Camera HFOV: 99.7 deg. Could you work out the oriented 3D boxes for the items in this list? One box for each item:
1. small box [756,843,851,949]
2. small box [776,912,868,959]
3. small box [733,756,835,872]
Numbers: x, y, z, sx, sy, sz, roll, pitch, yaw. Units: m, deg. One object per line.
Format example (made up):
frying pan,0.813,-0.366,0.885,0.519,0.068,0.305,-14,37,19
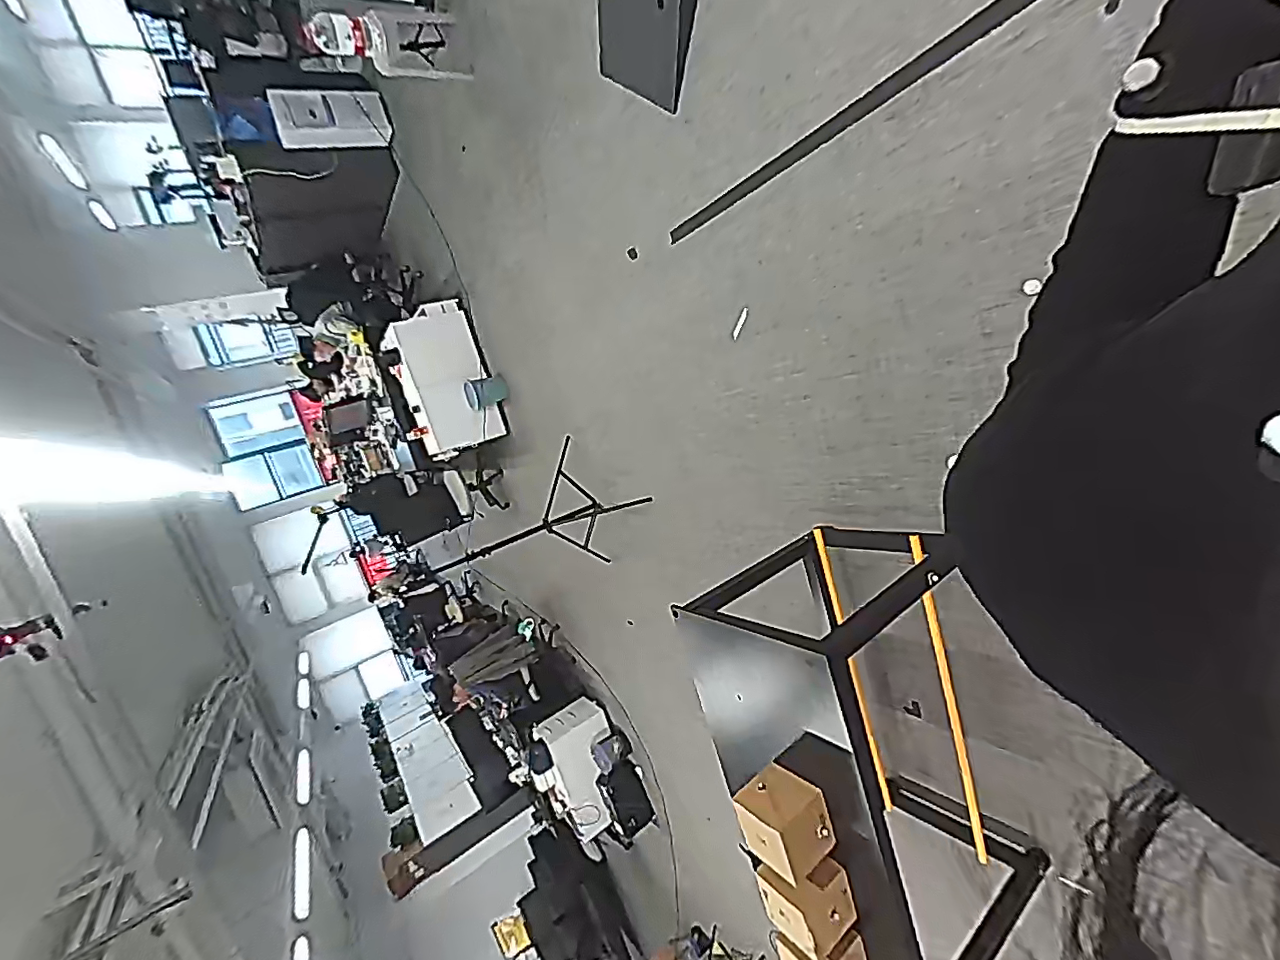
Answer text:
small box,0.453,1.096,1.474,0.179,0.176,0.168,-1,109,58
small box,0.516,1.314,1.521,0.168,0.176,0.179,-1,109,58
small box,0.382,0.871,1.435,0.179,0.176,0.168,-3,109,58
